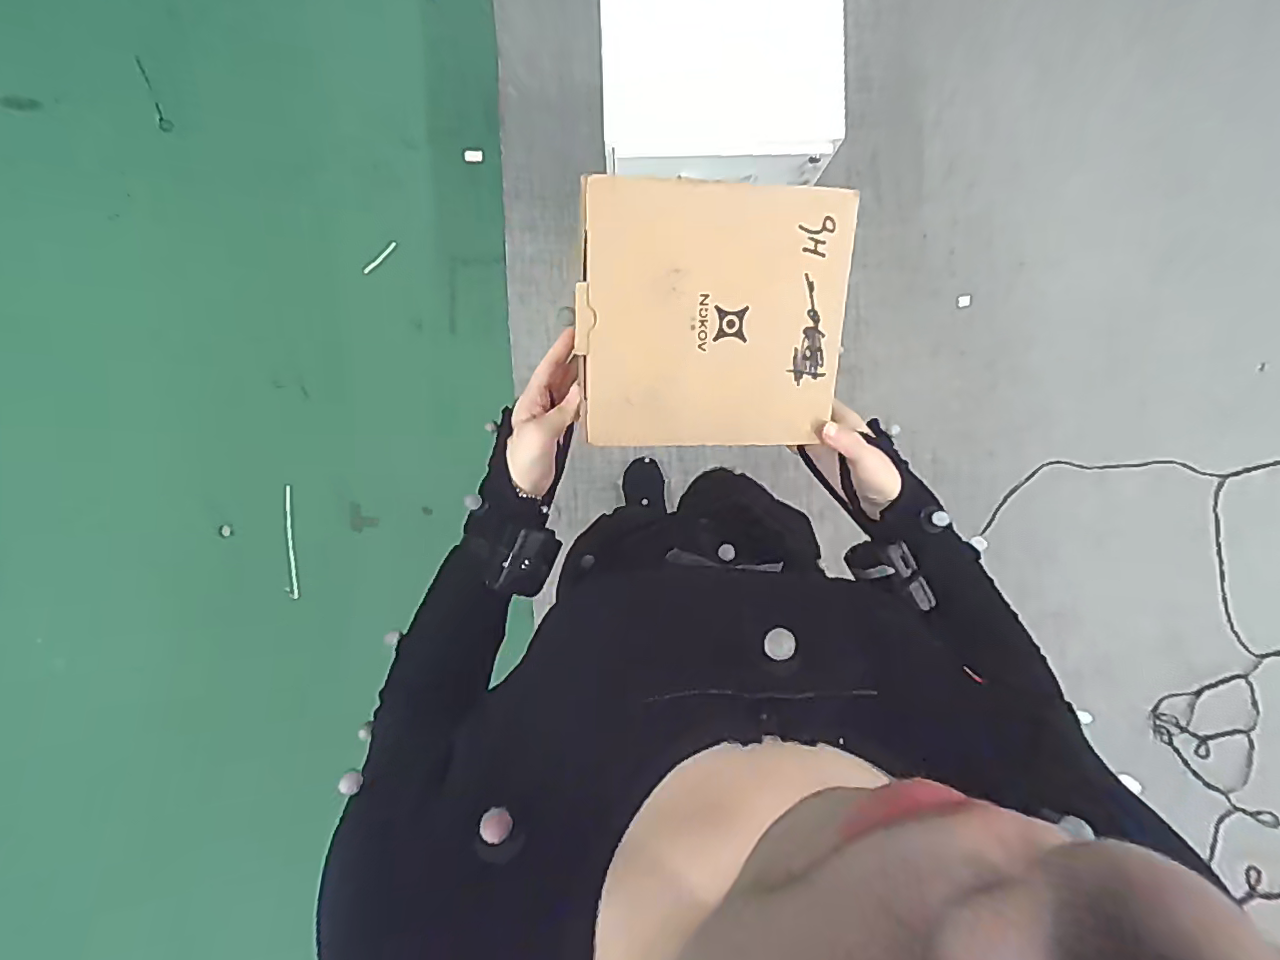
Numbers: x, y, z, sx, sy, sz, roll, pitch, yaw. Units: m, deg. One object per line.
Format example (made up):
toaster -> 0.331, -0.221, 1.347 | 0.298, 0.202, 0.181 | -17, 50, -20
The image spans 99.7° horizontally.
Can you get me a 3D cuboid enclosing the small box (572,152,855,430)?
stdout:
small box -> 0.036, -0.138, 0.426 | 0.179, 0.176, 0.168 | 0, 108, -7
